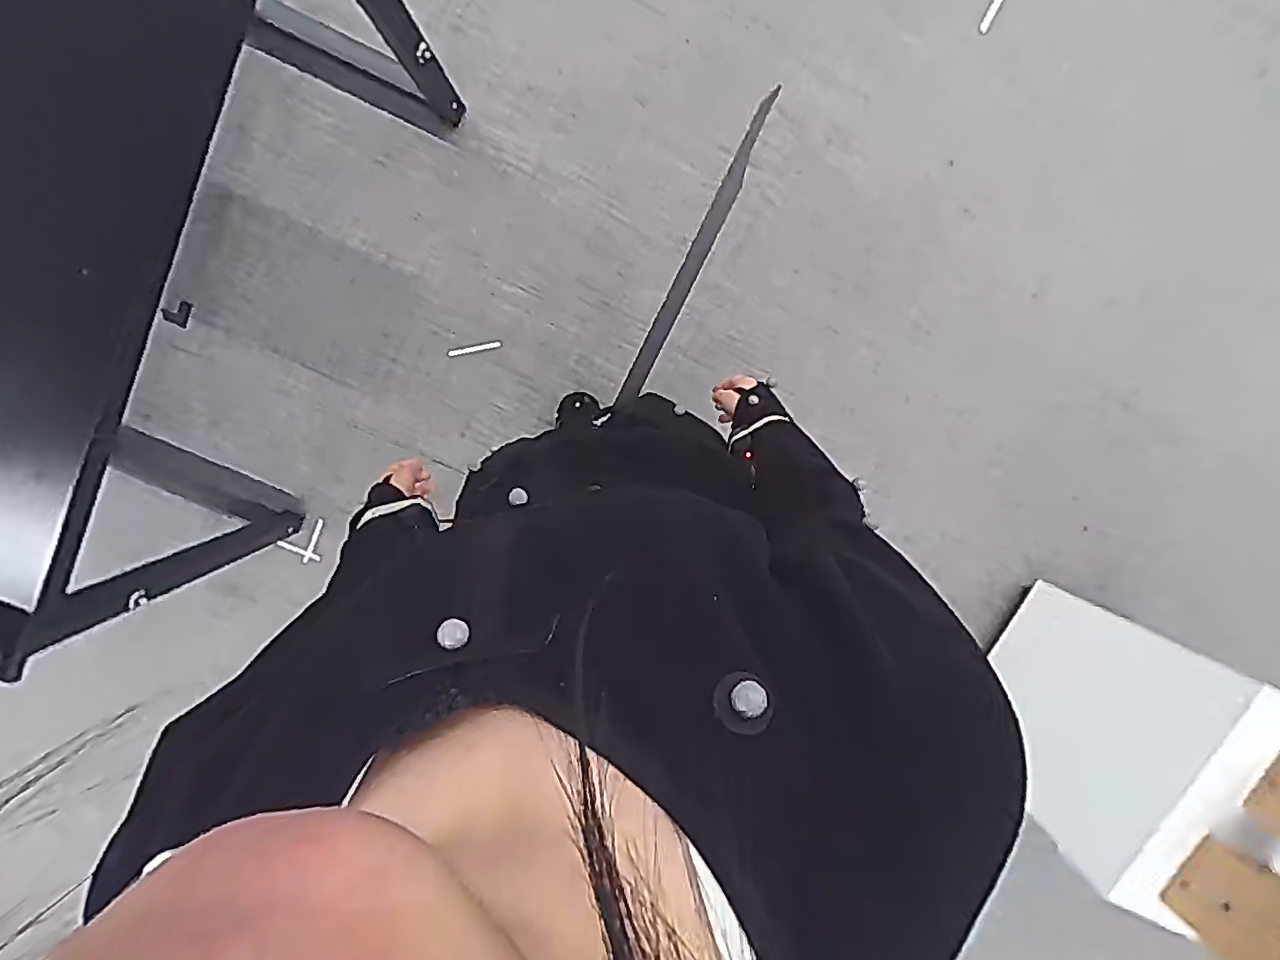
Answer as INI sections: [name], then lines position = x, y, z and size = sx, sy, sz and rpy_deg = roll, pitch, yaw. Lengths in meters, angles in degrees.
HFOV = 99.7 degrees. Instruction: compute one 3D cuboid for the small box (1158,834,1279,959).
[small box]
position = 1.136, 0.803, 0.997
size = 0.179, 0.176, 0.168
rpy_deg = 27, 97, -6
